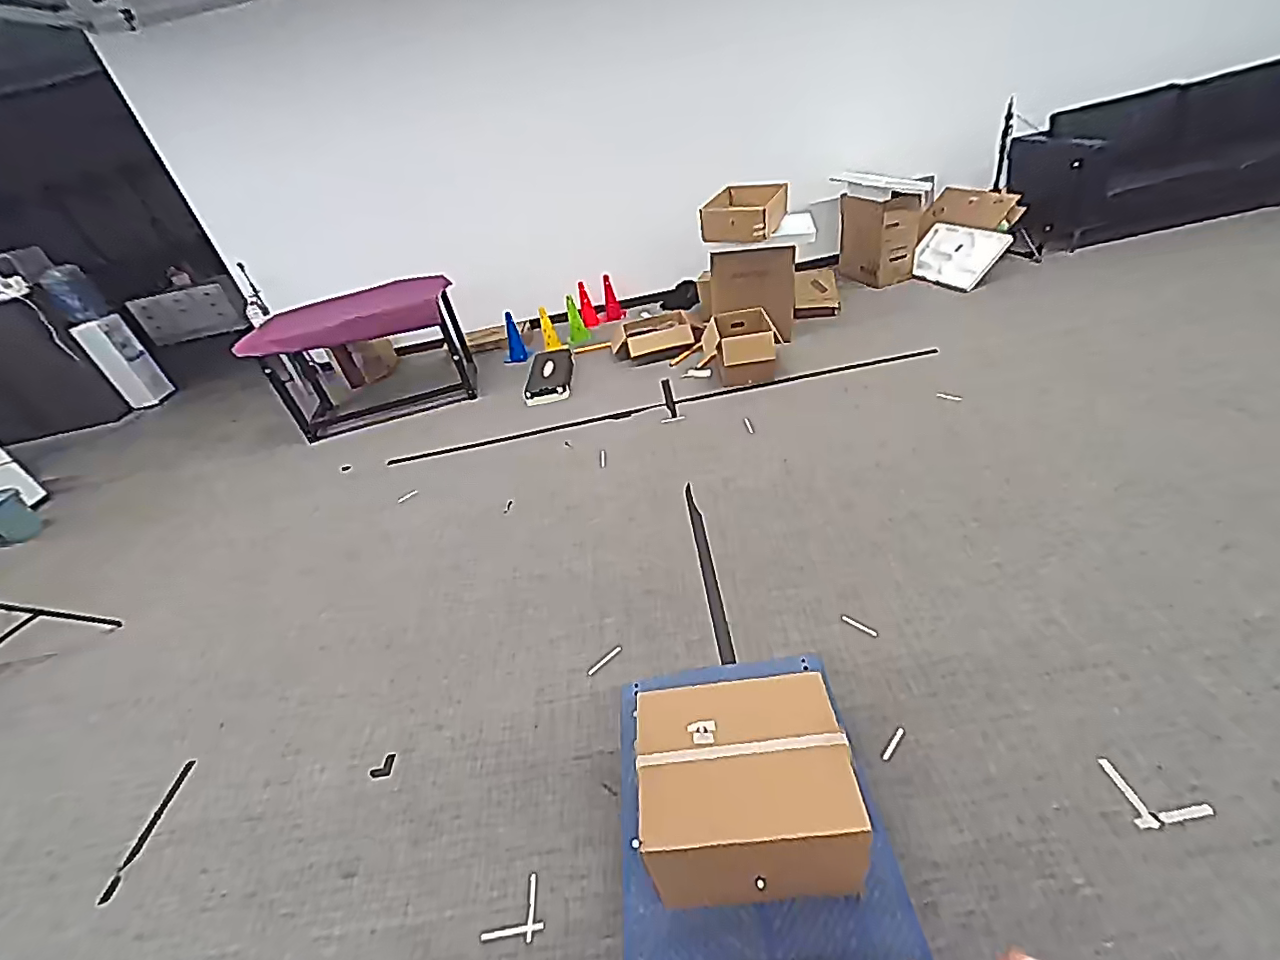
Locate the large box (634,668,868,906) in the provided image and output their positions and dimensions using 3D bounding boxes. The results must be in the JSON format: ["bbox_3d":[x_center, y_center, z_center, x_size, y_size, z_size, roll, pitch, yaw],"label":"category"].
[{"bbox_3d":[0.217,0.642,1.133,0.408,0.320,0.320,-10,34,6],"label":"large box"}]
